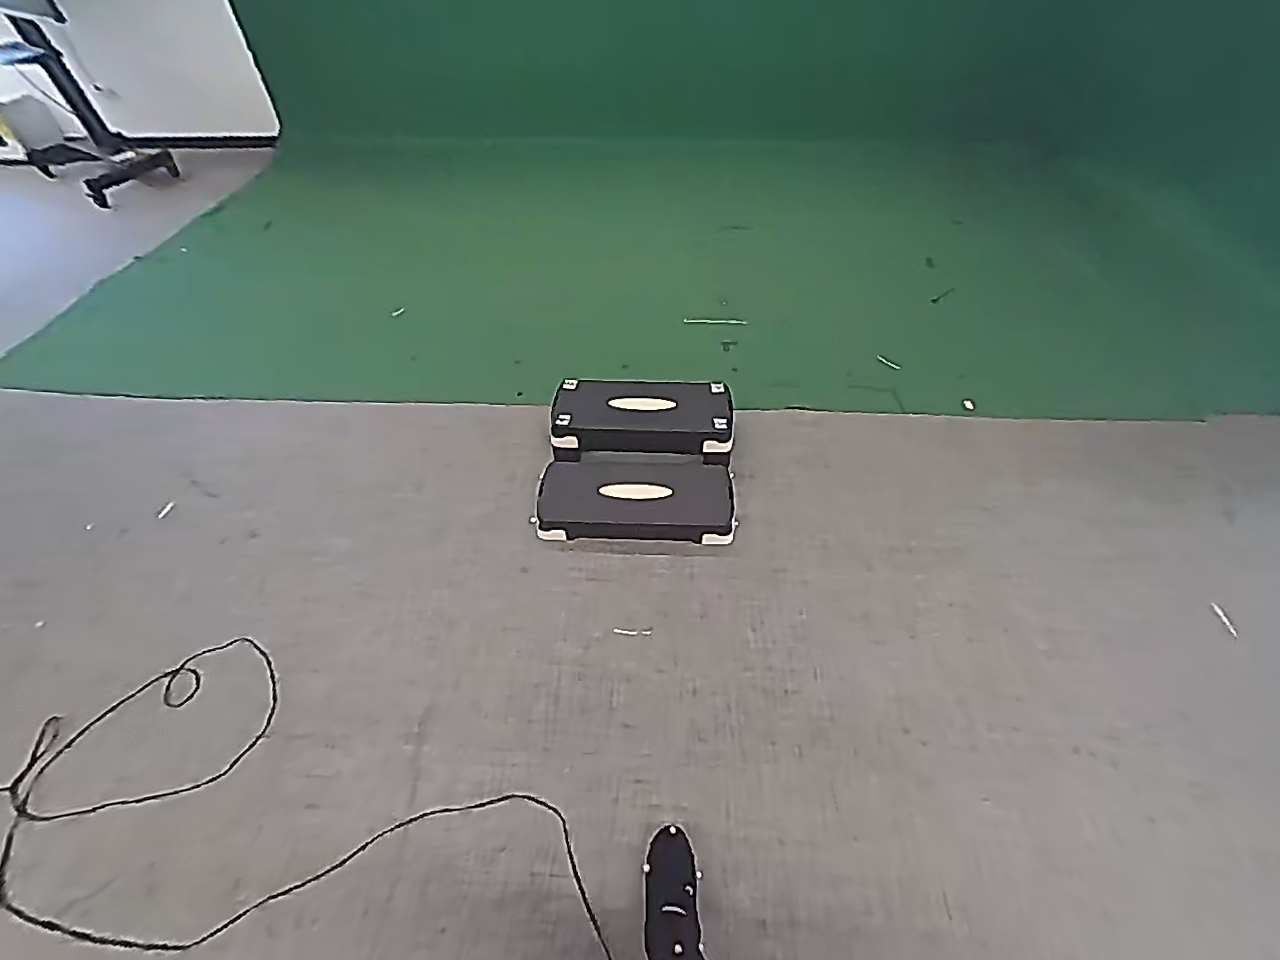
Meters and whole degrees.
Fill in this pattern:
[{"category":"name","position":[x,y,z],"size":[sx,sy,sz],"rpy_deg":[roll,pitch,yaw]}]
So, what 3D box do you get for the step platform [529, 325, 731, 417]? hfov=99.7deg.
[{"category":"step platform","position":[-0.033,-0.384,1.909],"size":[0.684,0.204,0.286],"rpy_deg":[1,49,3]}]
